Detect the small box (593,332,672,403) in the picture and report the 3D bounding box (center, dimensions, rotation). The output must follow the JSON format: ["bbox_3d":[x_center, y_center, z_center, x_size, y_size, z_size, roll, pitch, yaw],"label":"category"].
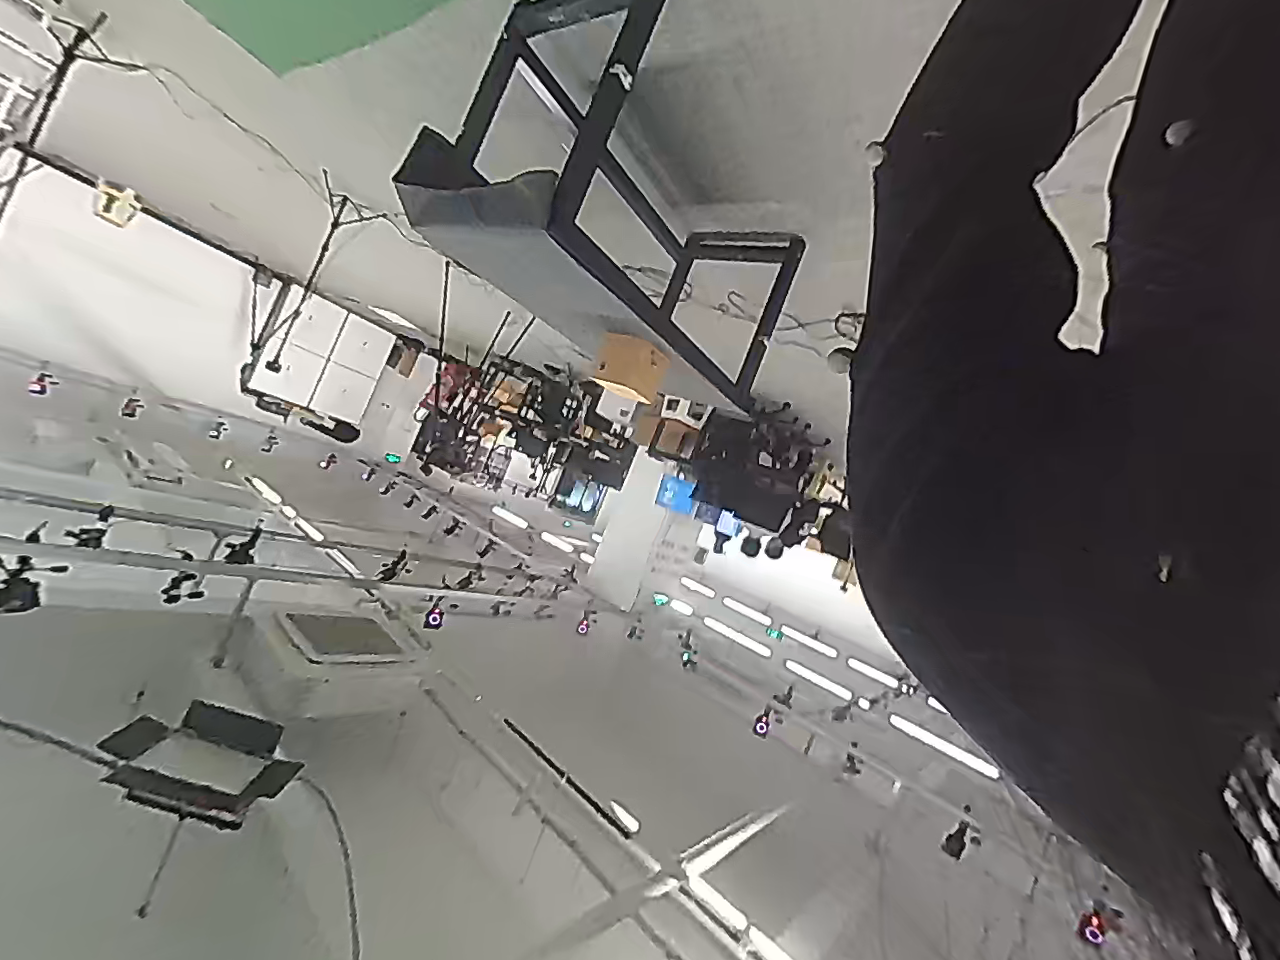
[{"bbox_3d":[-0.021,-0.383,1.822,0.179,0.176,0.168,21,179,35],"label":"small box"}]
